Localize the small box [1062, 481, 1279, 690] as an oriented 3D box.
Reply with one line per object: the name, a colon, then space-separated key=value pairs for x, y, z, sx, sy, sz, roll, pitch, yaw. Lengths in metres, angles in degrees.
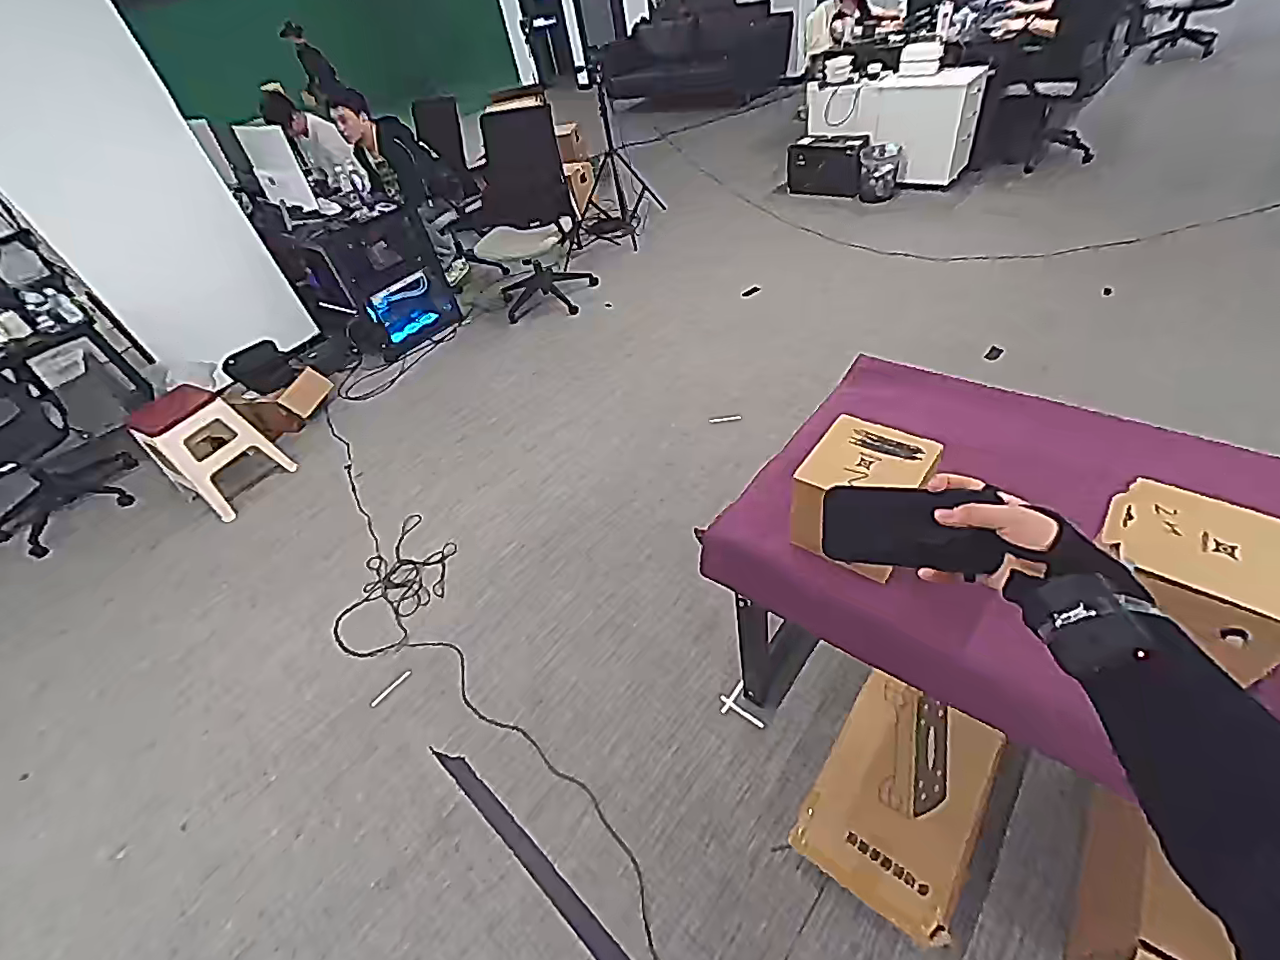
small box: x=0.687 y=0.137 z=0.689 sx=0.179 sy=0.176 sz=0.168 roll=24 pitch=53 yaw=33
